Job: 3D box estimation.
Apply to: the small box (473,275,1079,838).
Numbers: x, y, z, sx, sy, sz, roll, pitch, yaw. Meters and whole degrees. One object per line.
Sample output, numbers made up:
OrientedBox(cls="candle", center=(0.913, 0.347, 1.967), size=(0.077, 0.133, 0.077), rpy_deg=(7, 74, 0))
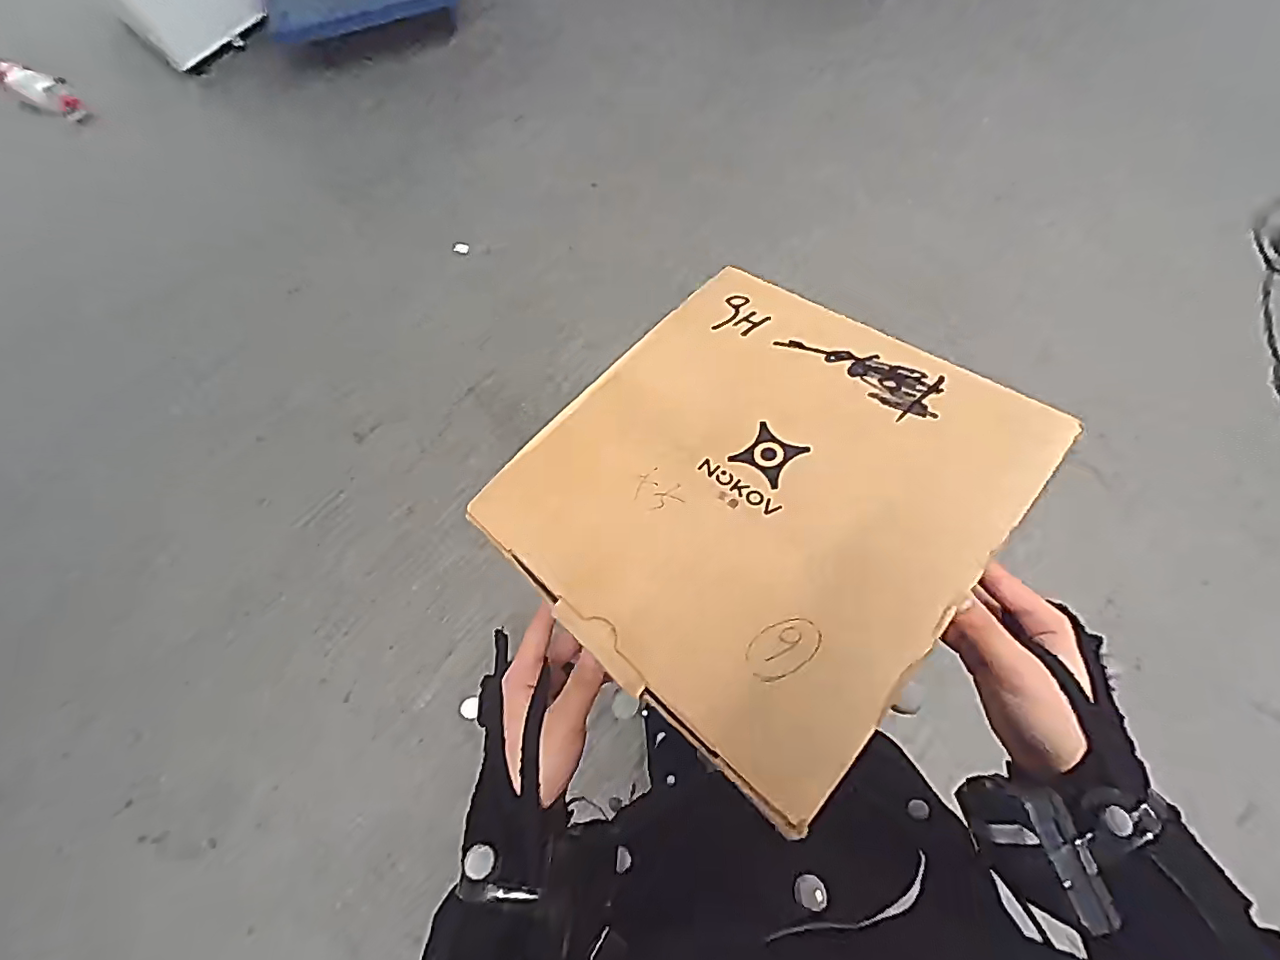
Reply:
OrientedBox(cls="small box", center=(0.058, 0.040, 0.276), size=(0.168, 0.176, 0.179), rpy_deg=(38, 74, 28))
